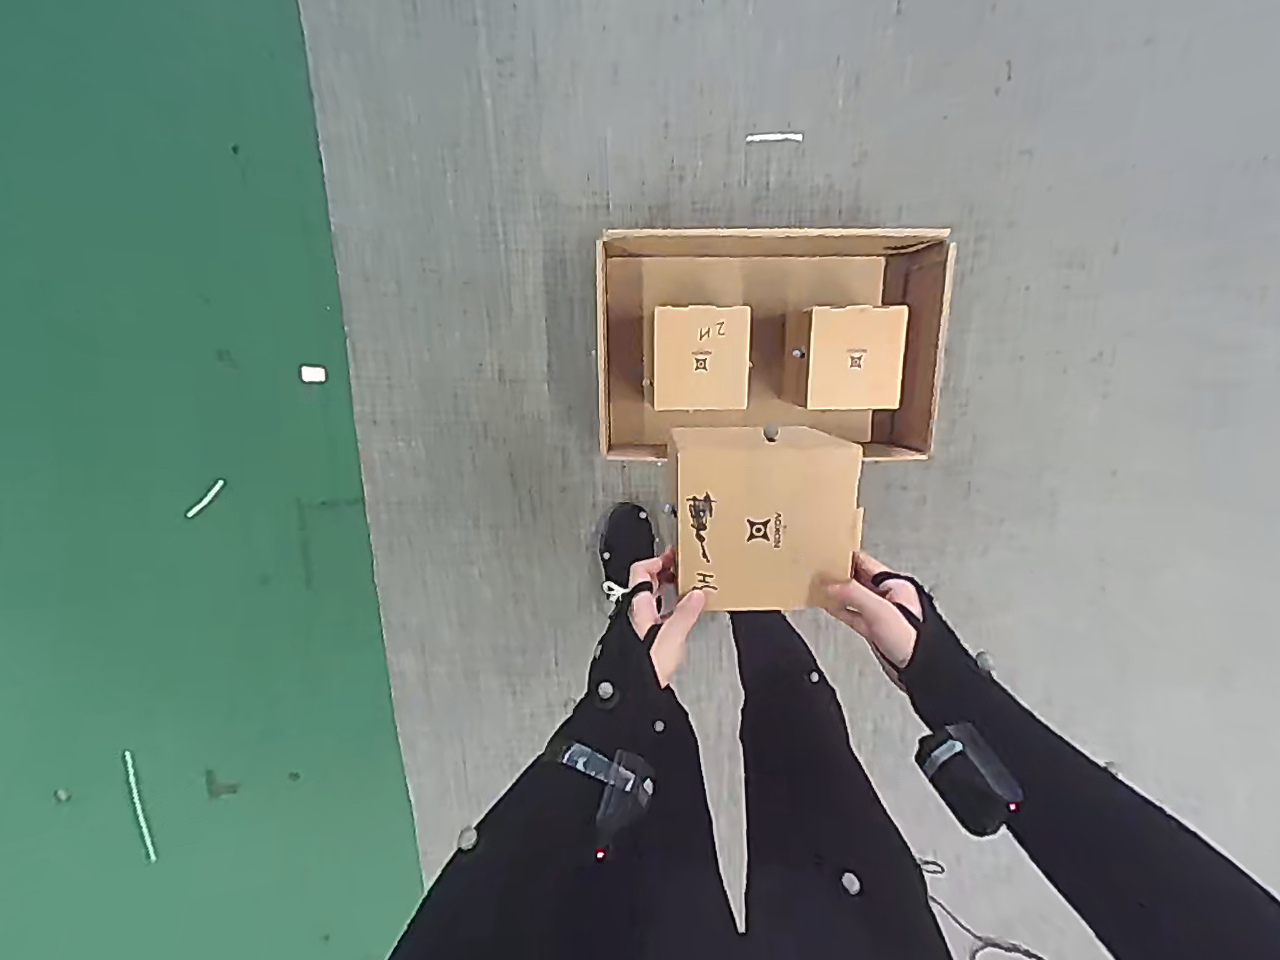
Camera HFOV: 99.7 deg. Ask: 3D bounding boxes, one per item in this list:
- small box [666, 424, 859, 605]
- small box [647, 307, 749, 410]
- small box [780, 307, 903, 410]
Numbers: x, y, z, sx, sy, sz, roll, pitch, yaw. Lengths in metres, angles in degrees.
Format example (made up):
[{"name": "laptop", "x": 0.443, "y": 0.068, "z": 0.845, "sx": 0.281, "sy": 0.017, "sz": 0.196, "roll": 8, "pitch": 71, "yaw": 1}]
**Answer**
[{"name": "small box", "x": 0.125, "y": 0.028, "z": 0.616, "sx": 0.179, "sy": 0.176, "sz": 0.168, "roll": -2, "pitch": 102, "yaw": -1}, {"name": "small box", "x": 0.101, "y": -0.226, "z": 1.011, "sx": 0.168, "sy": 0.176, "sz": 0.179, "roll": 0, "pitch": 103, "yaw": -3}, {"name": "small box", "x": 0.369, "y": -0.230, "z": 1.023, "sx": 0.168, "sy": 0.176, "sz": 0.179, "roll": -1, "pitch": 102, "yaw": -1}]
